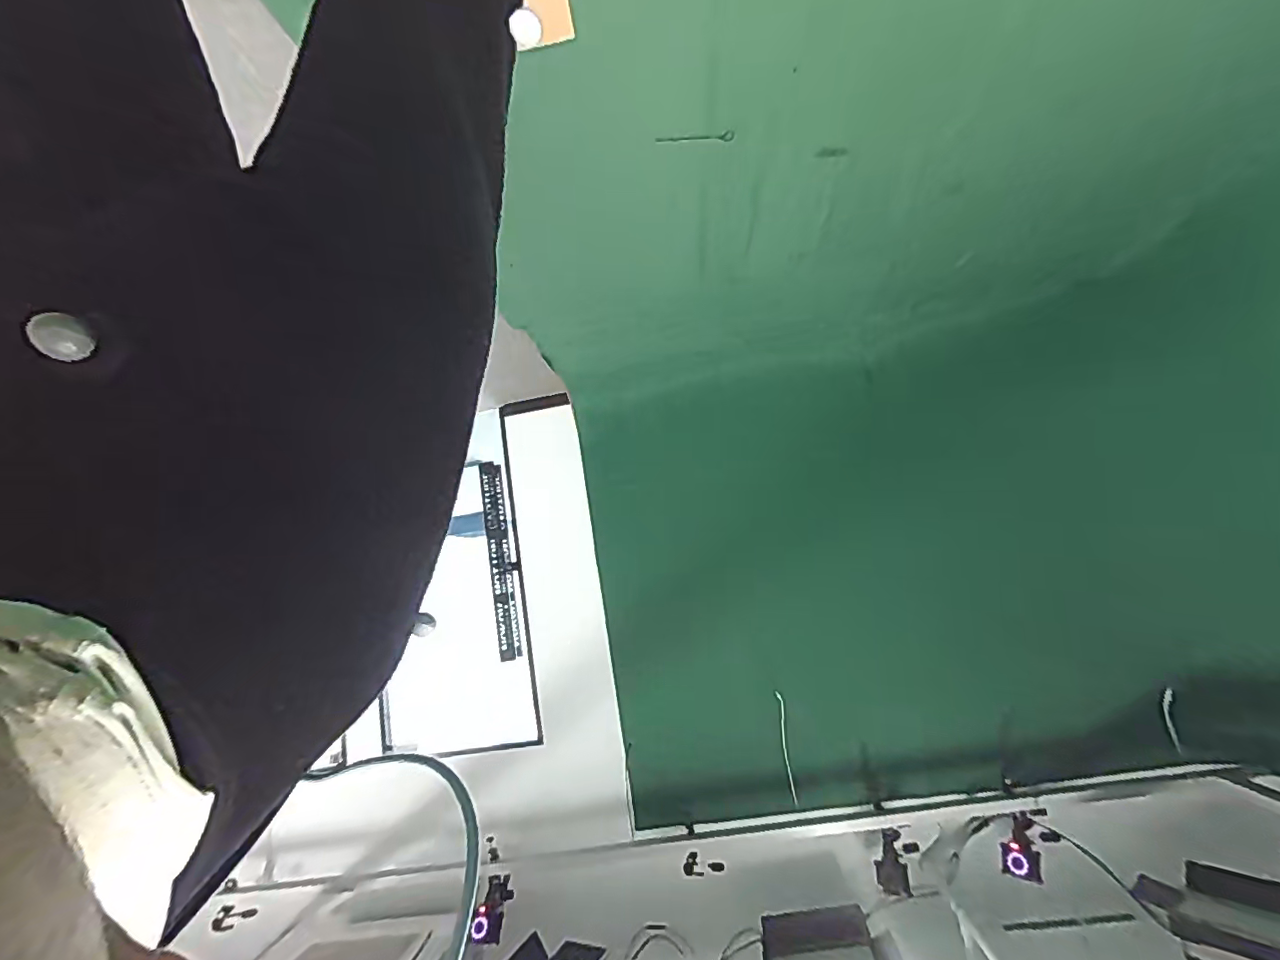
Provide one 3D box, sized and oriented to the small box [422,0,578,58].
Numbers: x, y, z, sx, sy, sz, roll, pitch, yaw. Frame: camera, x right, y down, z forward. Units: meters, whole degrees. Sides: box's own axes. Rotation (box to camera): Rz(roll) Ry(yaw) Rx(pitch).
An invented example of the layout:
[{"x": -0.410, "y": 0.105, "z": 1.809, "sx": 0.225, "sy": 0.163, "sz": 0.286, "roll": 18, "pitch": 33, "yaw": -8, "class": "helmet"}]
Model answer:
[{"x": -0.182, "y": -0.655, "z": 0.634, "sx": 0.179, "sy": 0.176, "sz": 0.168, "roll": -9, "pitch": 171, "yaw": 3, "class": "small box"}]
